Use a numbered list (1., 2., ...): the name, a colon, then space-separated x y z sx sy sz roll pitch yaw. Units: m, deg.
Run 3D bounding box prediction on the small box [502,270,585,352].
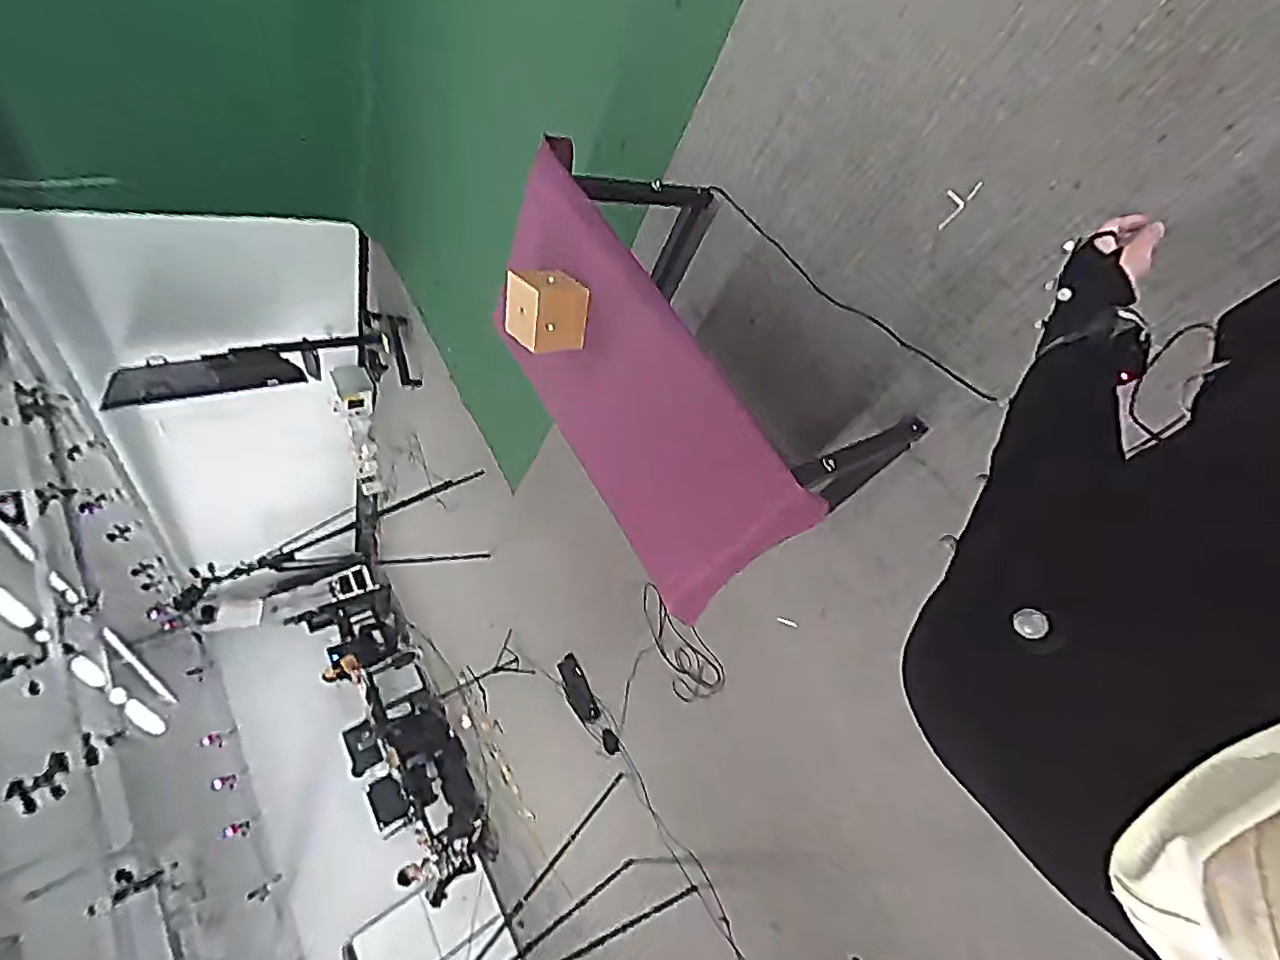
1. small box: -0.272 -0.486 1.535 0.168 0.176 0.179 41 134 33
